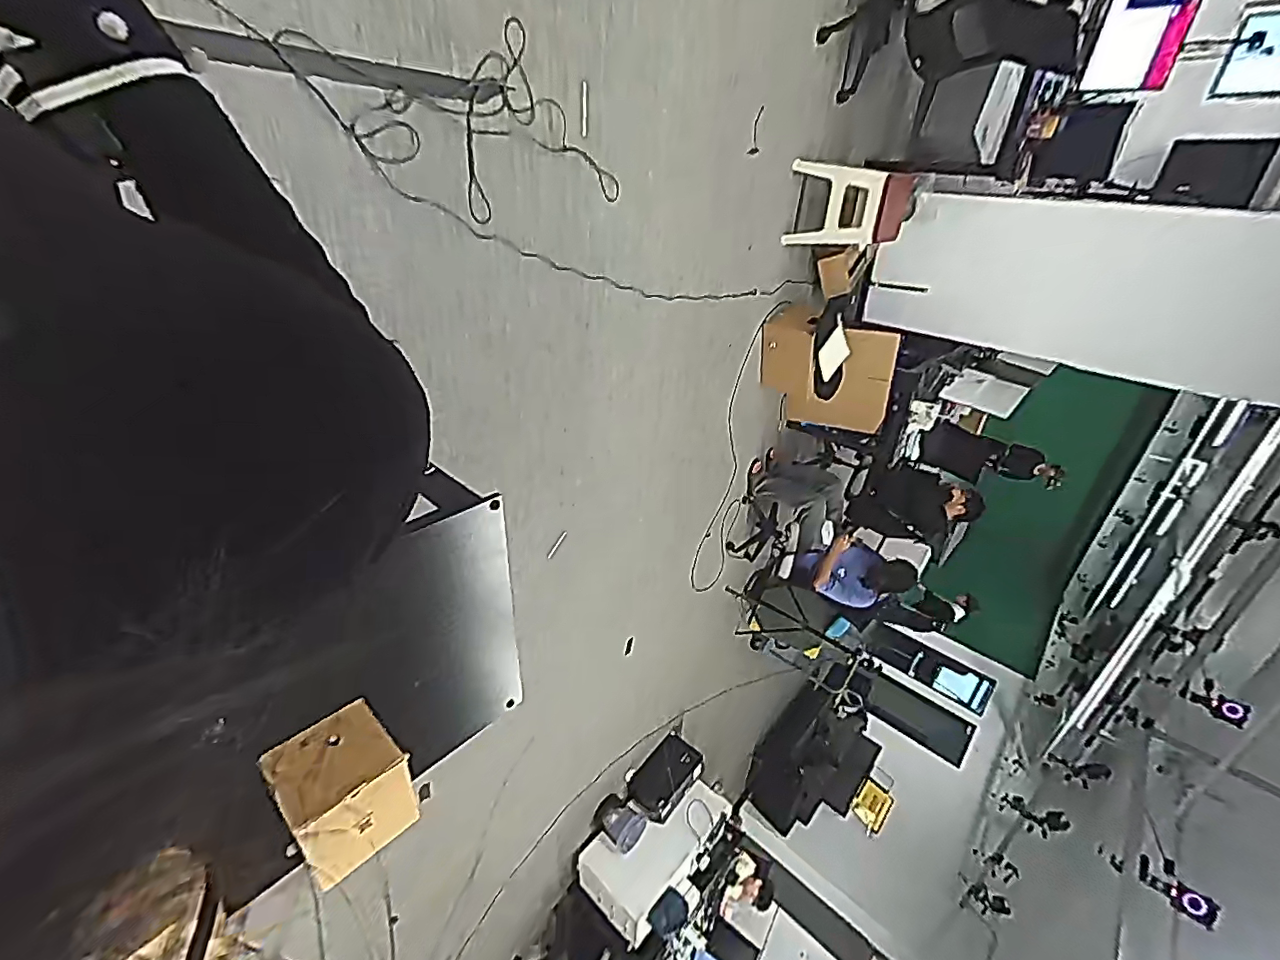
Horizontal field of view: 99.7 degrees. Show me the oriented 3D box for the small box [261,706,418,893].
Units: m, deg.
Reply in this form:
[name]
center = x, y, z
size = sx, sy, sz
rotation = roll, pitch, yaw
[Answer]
[small box]
center = -0.503, 0.526, 0.912
size = 0.168, 0.176, 0.179
rotation = -26, 130, -42
